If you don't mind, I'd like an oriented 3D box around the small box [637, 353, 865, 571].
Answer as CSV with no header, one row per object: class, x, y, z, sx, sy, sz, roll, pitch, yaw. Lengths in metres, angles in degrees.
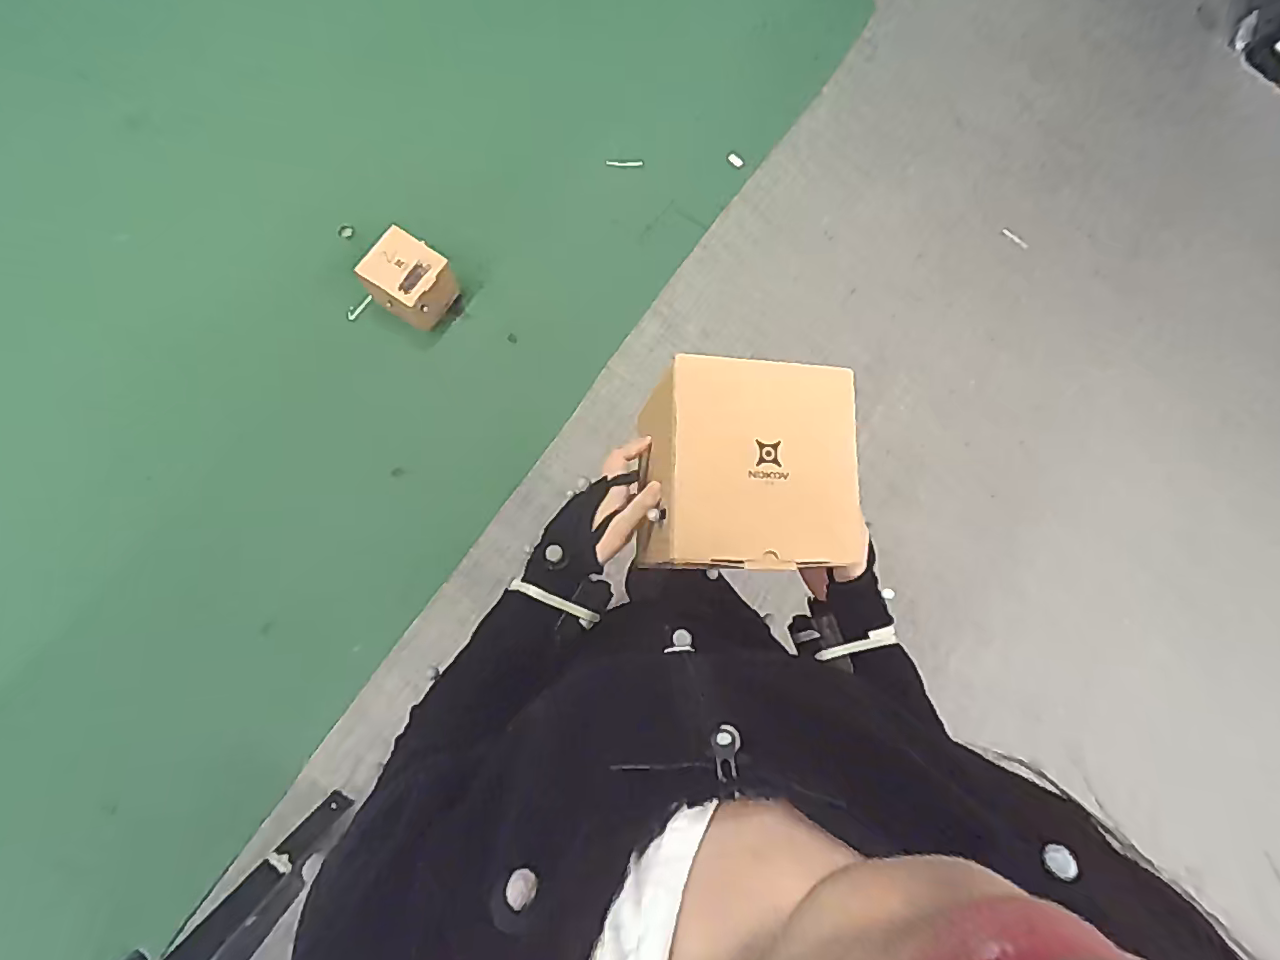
small box,0.093,-0.003,0.526,0.168,0.176,0.179,3,80,-11
